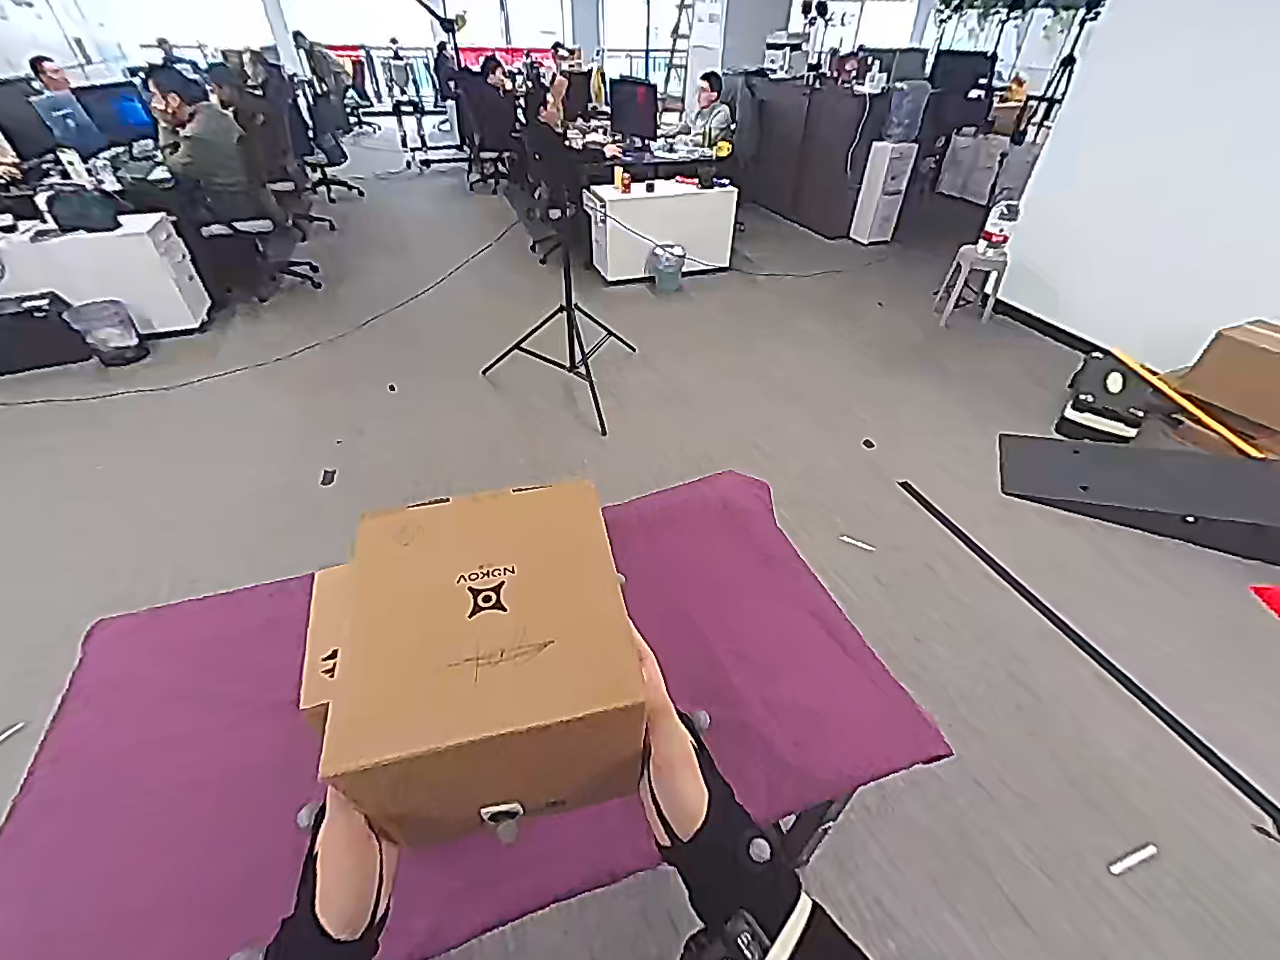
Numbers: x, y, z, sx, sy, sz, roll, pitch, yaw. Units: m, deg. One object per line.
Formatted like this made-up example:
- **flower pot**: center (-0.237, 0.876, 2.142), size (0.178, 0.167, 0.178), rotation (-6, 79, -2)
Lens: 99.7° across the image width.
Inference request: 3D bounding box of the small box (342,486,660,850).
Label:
- **small box**: center (-0.090, 0.132, 0.392), size (0.168, 0.176, 0.179), rotation (-9, 47, -11)
